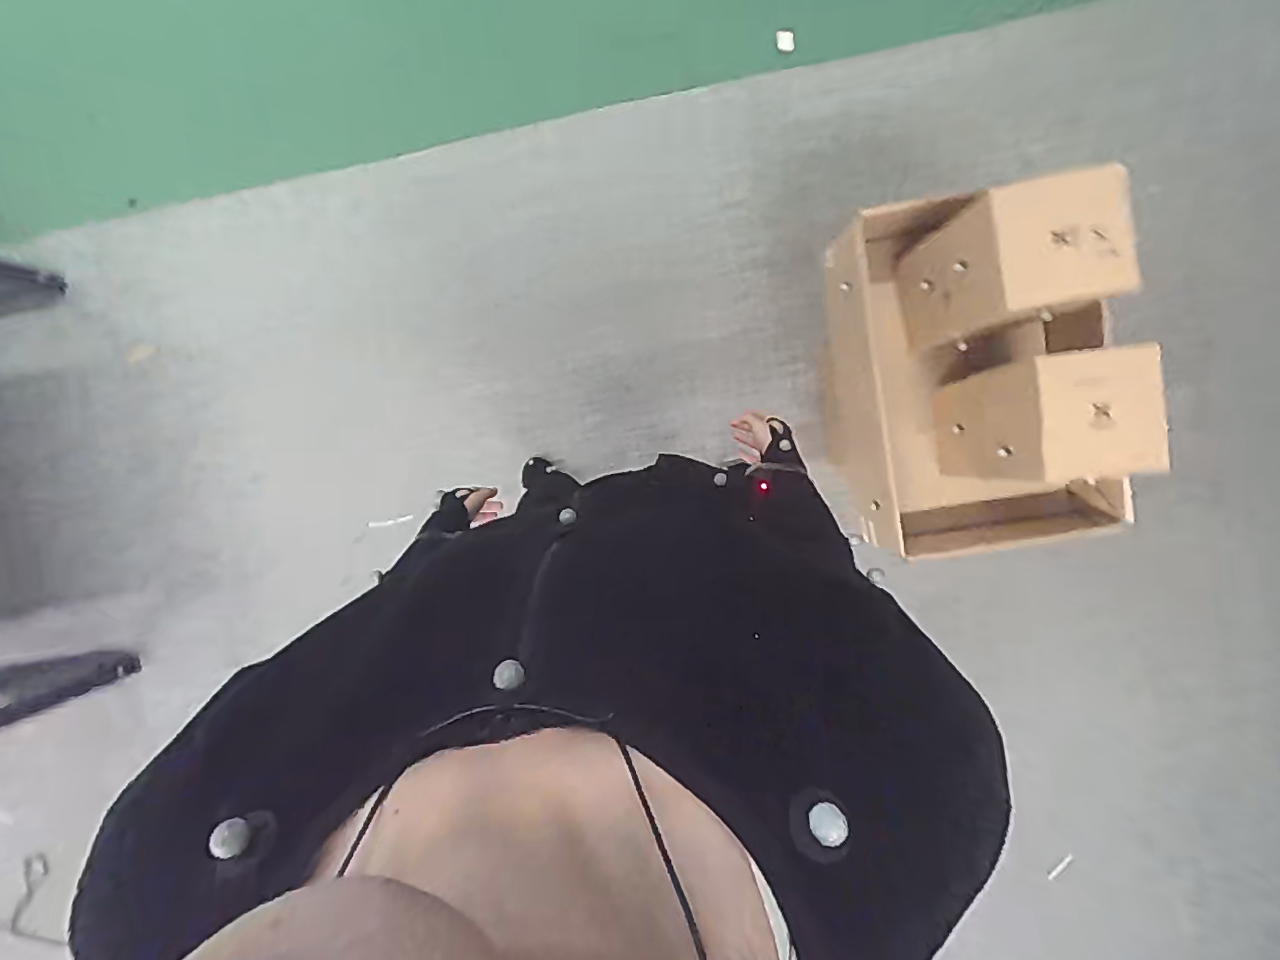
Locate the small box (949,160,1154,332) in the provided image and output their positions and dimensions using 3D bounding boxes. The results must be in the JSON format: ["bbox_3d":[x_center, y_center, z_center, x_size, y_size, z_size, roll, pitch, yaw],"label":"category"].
[{"bbox_3d":[0.578,-0.324,0.787,0.179,0.176,0.168,-9,92,4],"label":"small box"}]
